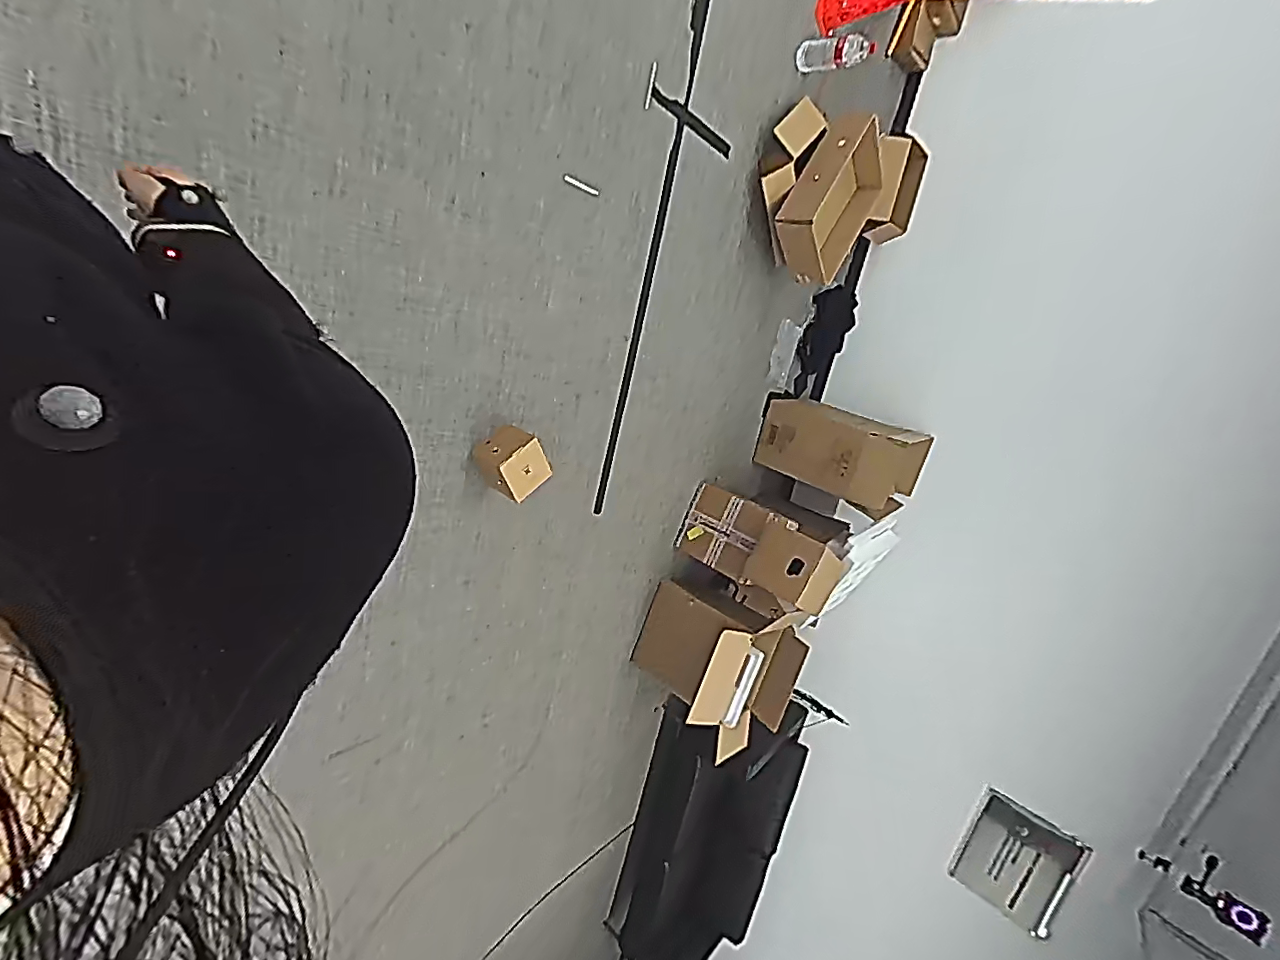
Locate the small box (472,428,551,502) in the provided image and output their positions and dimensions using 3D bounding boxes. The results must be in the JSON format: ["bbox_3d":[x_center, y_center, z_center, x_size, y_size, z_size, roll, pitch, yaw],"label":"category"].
[{"bbox_3d":[-0.441,-0.060,1.850,0.168,0.176,0.179,-44,140,-26],"label":"small box"}]
